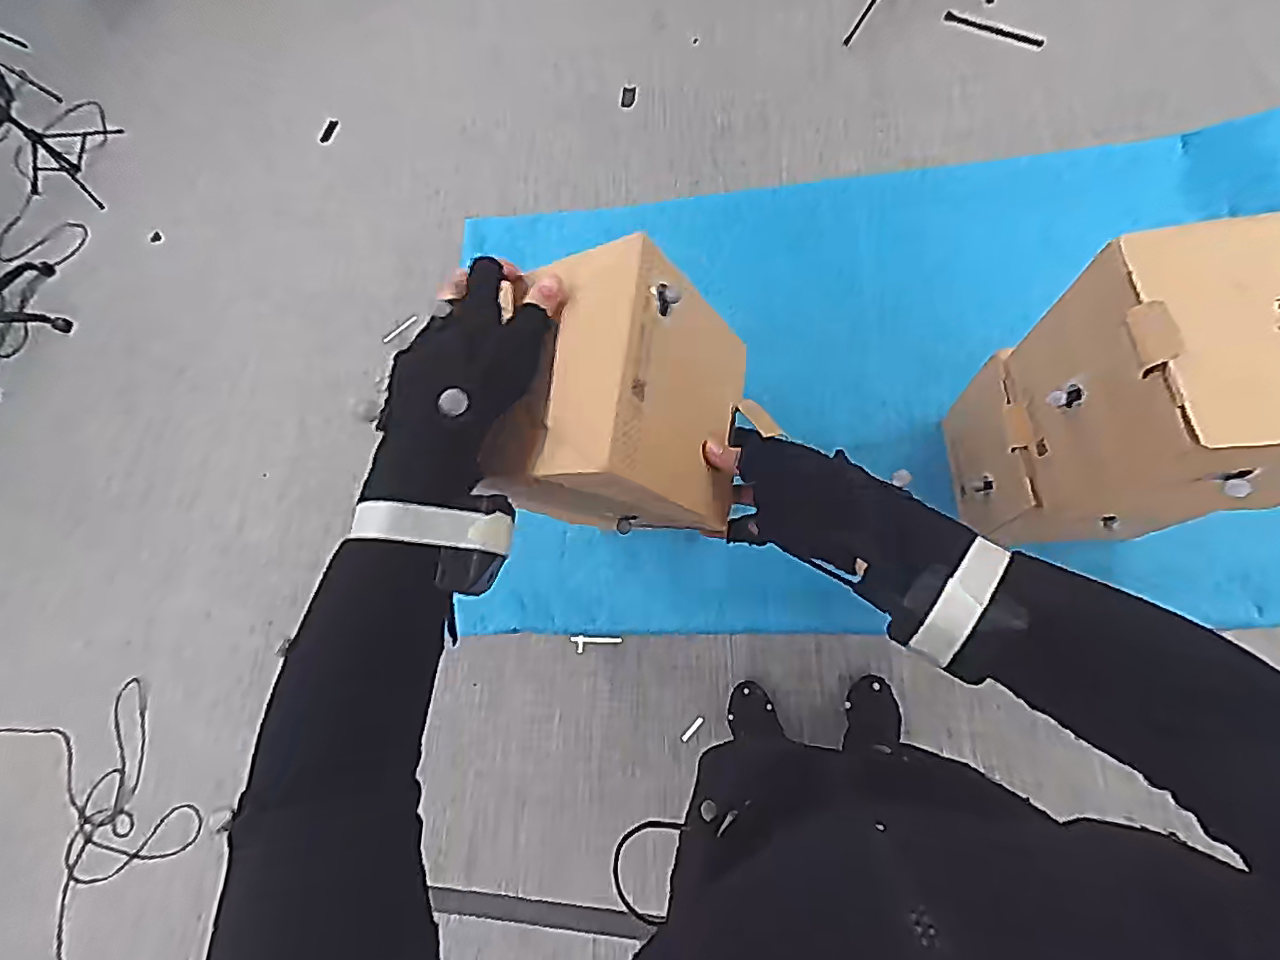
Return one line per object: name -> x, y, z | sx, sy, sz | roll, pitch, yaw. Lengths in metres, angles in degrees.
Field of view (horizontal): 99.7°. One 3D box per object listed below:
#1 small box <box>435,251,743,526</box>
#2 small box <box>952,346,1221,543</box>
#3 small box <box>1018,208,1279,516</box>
small box -> -0.036, -0.056, 0.439 | 0.179, 0.176, 0.168 | -1, 76, 37
small box -> 0.450, -0.031, 0.566 | 0.179, 0.176, 0.168 | -3, 71, 11
small box -> 0.426, -0.076, 0.412 | 0.179, 0.176, 0.168 | -6, 70, 9
